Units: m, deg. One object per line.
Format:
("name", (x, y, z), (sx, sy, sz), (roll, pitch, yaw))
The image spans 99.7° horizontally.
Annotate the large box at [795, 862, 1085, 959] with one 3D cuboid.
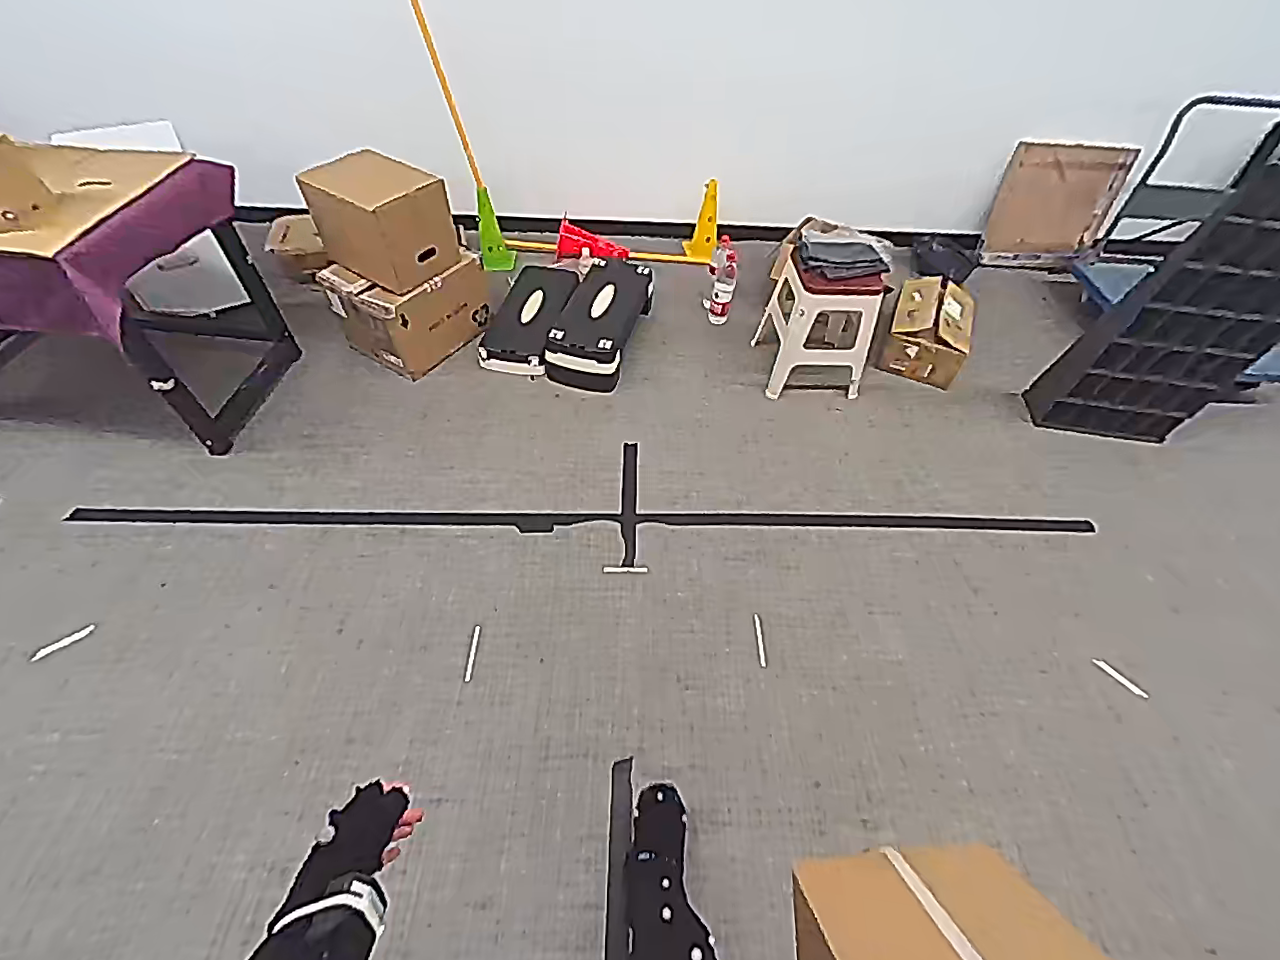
("large box", (0.403, 0.743, 0.629), (0.320, 0.408, 0.320), (-3, 90, -4))
